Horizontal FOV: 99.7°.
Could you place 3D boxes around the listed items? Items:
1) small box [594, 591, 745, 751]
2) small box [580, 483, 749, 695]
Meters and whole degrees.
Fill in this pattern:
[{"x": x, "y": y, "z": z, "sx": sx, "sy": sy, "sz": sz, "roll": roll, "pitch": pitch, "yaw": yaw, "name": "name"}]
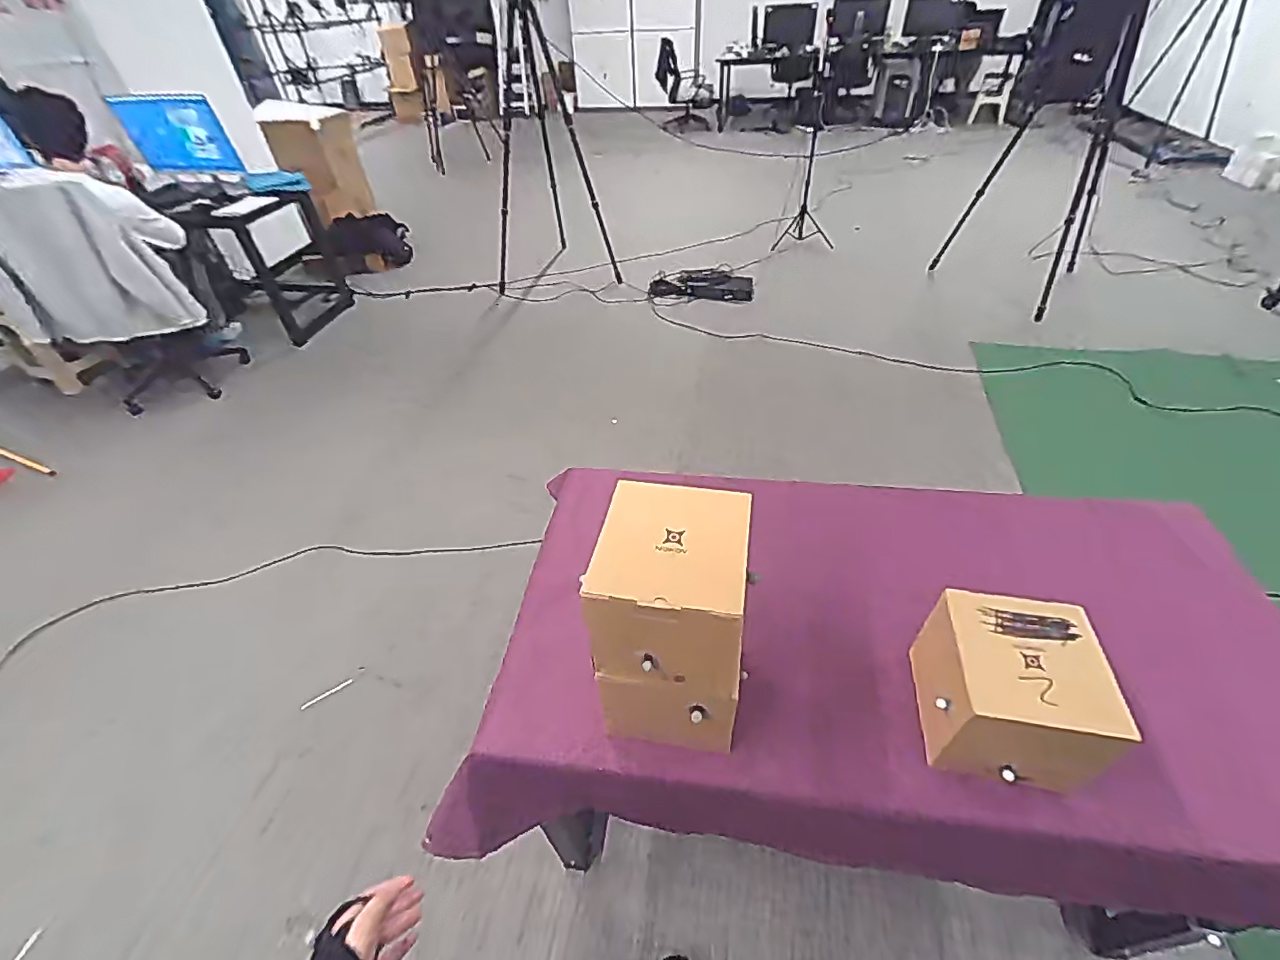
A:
[{"x": 0.047, "y": 0.255, "z": 0.753, "sx": 0.179, "sy": 0.176, "sz": 0.168, "roll": 5, "pitch": 43, "yaw": 10, "name": "small box"}, {"x": 0.037, "y": 0.128, "z": 0.651, "sx": 0.168, "sy": 0.176, "sz": 0.179, "roll": 5, "pitch": 44, "yaw": 10, "name": "small box"}]
